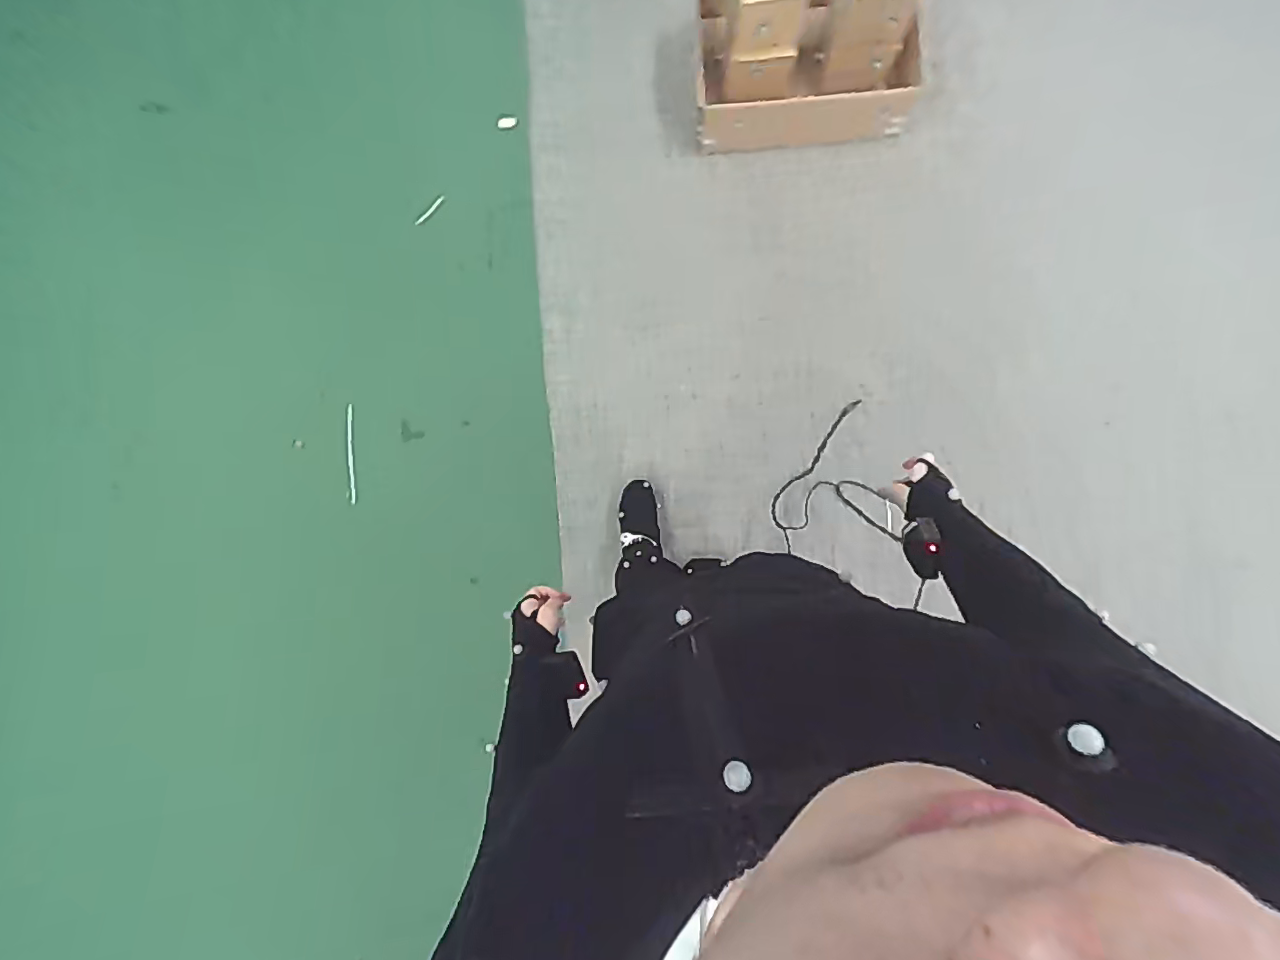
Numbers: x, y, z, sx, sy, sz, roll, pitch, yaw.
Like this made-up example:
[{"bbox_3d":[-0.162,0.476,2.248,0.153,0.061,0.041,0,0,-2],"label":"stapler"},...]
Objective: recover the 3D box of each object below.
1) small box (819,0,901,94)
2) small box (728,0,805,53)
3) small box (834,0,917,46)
[{"bbox_3d":[0.612,-1.222,1.516,0.179,0.176,0.168,1,88,6],"label":"small box"},{"bbox_3d":[0.322,-1.234,1.378,0.168,0.176,0.179,-6,87,4],"label":"small box"},{"bbox_3d":[0.595,-1.231,1.355,0.168,0.176,0.179,1,88,4],"label":"small box"}]
